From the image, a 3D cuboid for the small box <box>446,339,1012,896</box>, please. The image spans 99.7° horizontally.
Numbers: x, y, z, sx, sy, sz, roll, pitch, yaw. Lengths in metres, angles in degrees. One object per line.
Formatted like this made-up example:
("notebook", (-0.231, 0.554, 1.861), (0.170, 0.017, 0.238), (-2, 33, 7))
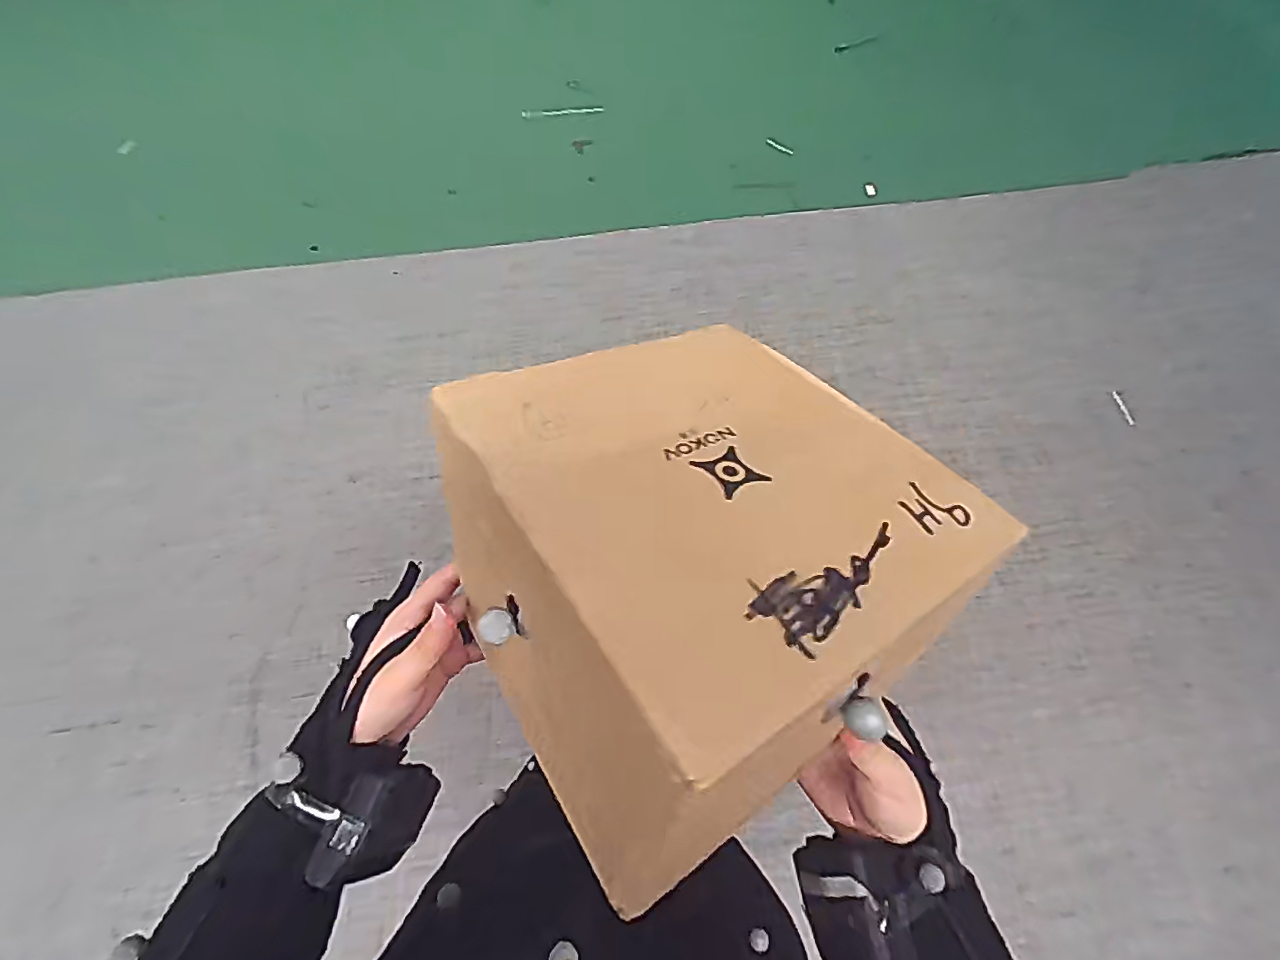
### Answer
("small box", (0.022, 0.057, 0.272), (0.168, 0.176, 0.179), (-23, 51, -29))
